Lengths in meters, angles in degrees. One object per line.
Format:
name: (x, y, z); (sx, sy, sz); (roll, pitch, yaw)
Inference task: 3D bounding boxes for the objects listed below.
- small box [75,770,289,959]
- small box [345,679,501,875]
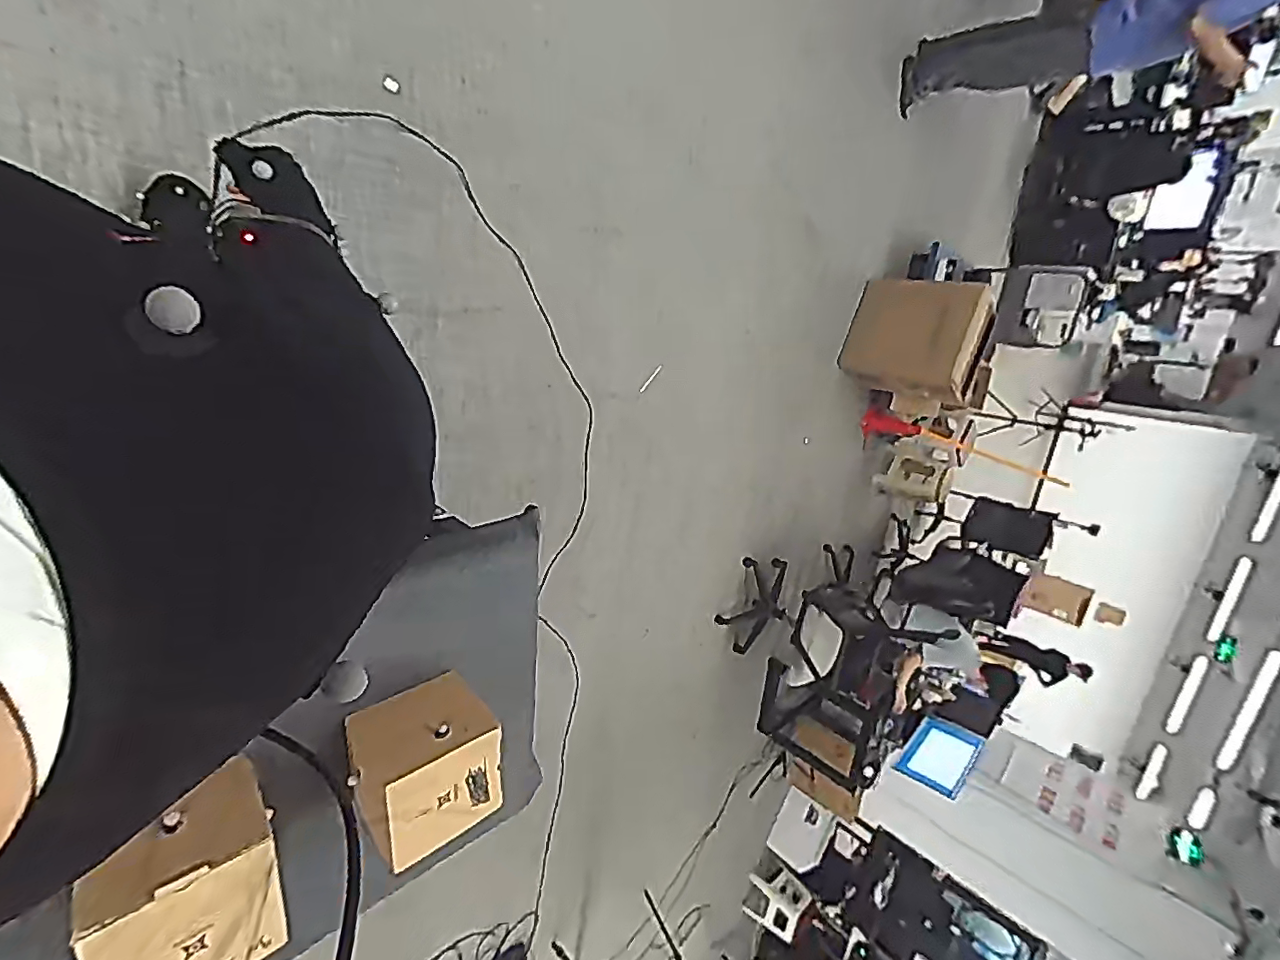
small box: (-0.546, 0.488, 0.650); (0.168, 0.176, 0.179); (-12, 113, -44)
small box: (-0.340, 0.450, 0.854); (0.179, 0.176, 0.168); (-13, 114, -42)
